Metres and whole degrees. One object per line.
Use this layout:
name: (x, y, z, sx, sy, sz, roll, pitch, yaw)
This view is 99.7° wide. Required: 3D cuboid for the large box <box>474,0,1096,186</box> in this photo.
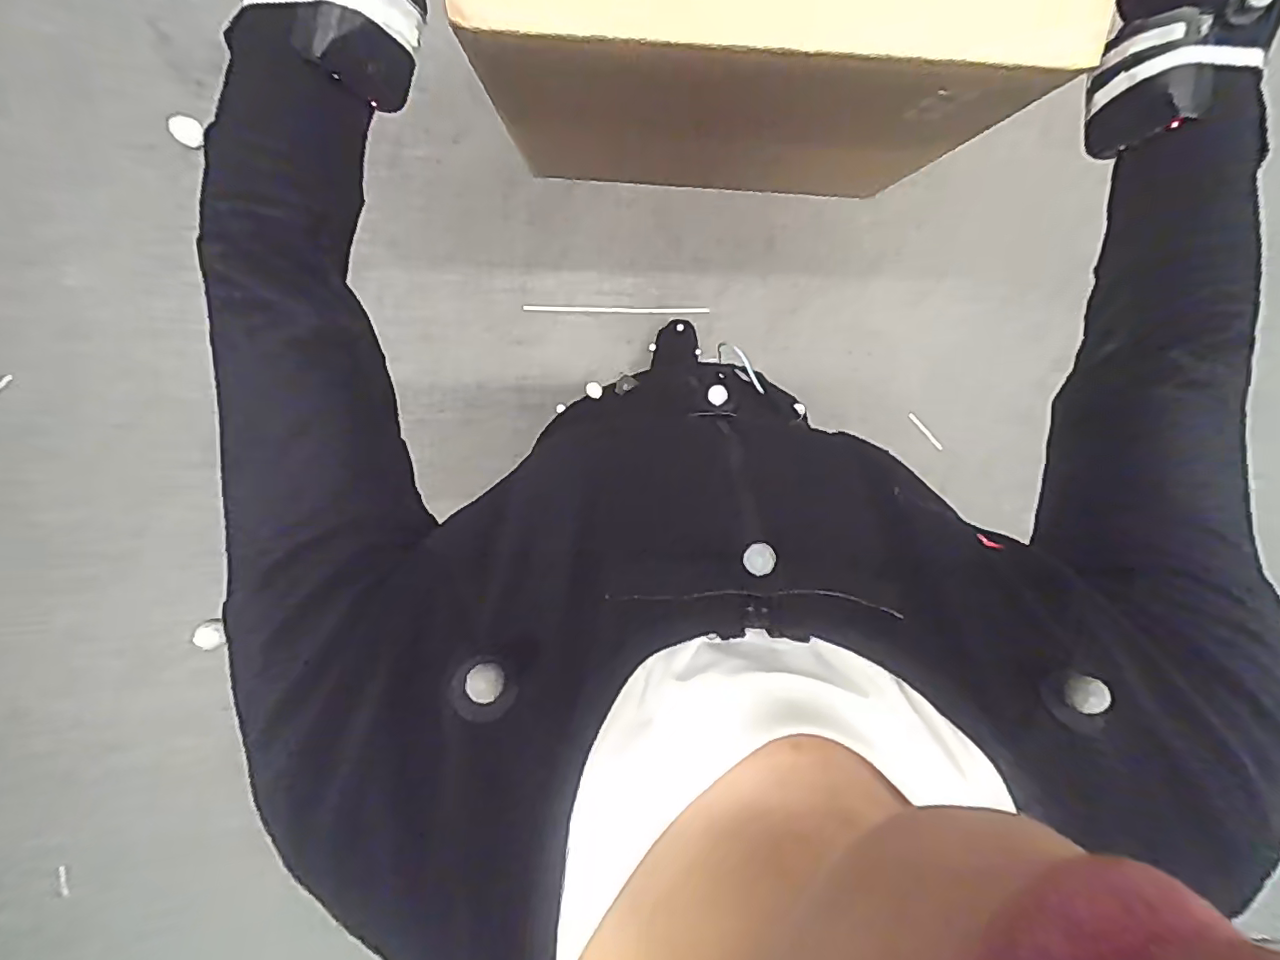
large box: (0.088, -0.461, 0.451, 0.408, 0.320, 0.320, 1, 105, -3)
